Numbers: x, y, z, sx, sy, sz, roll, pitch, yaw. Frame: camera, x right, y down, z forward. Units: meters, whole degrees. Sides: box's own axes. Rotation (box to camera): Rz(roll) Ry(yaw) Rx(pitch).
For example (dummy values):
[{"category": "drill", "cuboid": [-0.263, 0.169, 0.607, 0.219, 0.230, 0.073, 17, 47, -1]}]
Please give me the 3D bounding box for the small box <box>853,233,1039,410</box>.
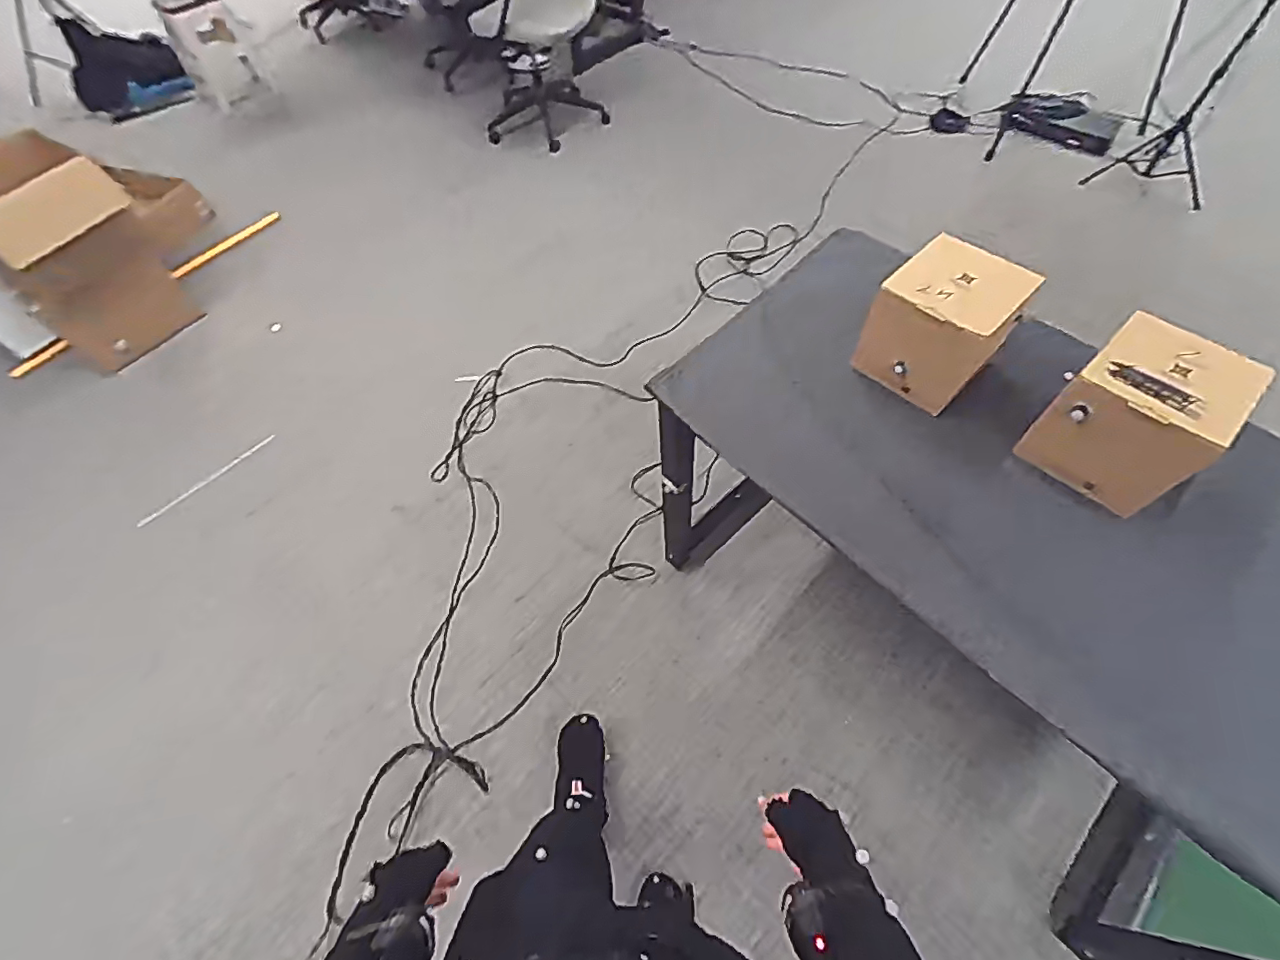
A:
[{"category": "small box", "cuboid": [0.468, -0.248, 0.857, 0.179, 0.176, 0.168, -40, 64, -19]}]
